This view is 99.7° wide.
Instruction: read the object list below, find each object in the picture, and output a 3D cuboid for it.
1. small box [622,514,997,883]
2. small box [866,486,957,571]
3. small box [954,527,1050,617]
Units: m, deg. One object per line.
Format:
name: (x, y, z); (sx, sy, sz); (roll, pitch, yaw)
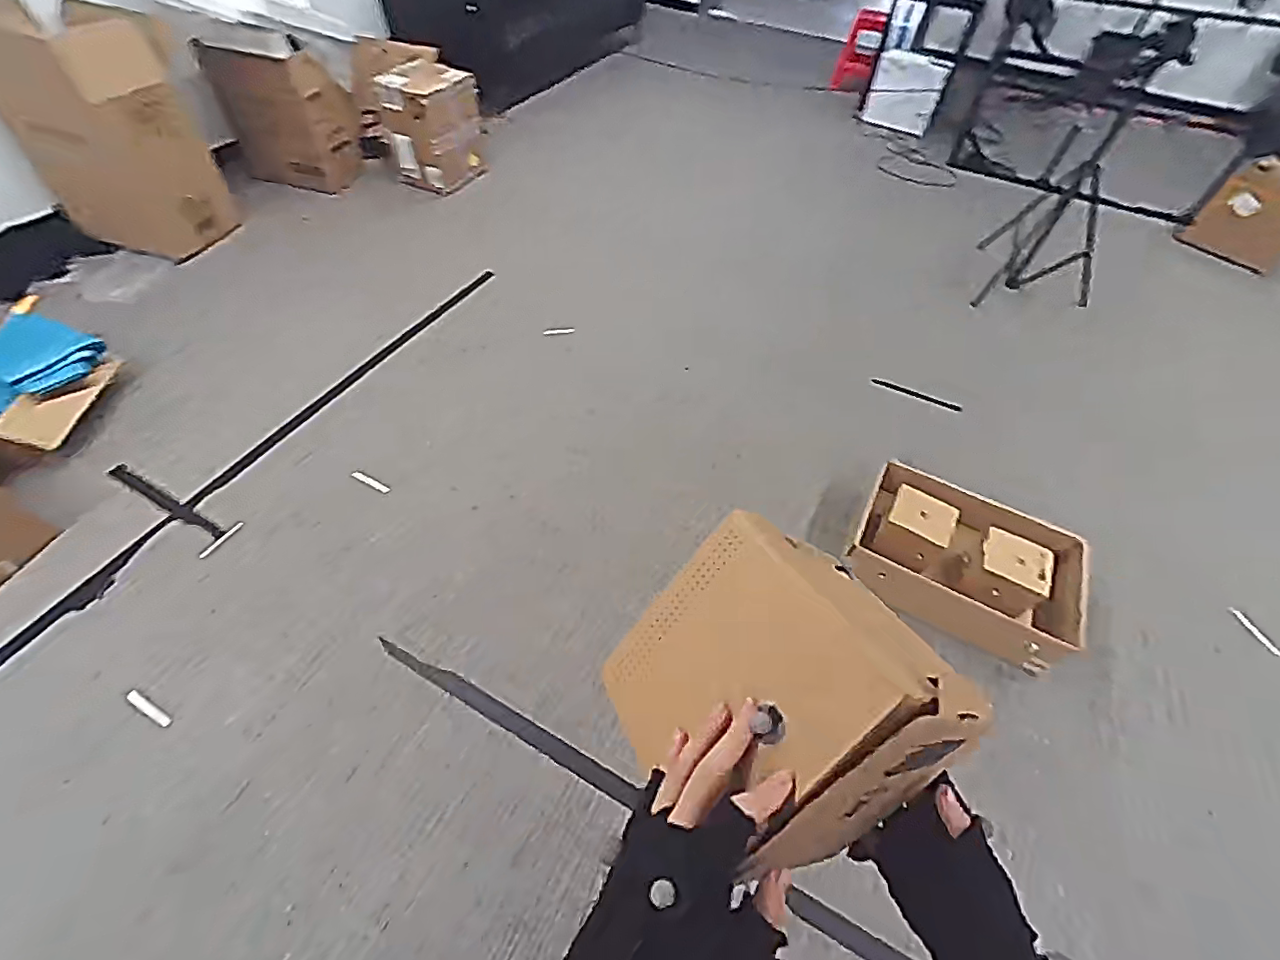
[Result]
small box: (0.114, 0.153, 0.408); (0.168, 0.179, 0.176); (26, 19, -40)
small box: (0.835, 0.156, 1.671); (0.179, 0.176, 0.168); (28, 55, 17)
small box: (1.062, 0.275, 1.594); (0.179, 0.176, 0.168); (25, 56, 17)
